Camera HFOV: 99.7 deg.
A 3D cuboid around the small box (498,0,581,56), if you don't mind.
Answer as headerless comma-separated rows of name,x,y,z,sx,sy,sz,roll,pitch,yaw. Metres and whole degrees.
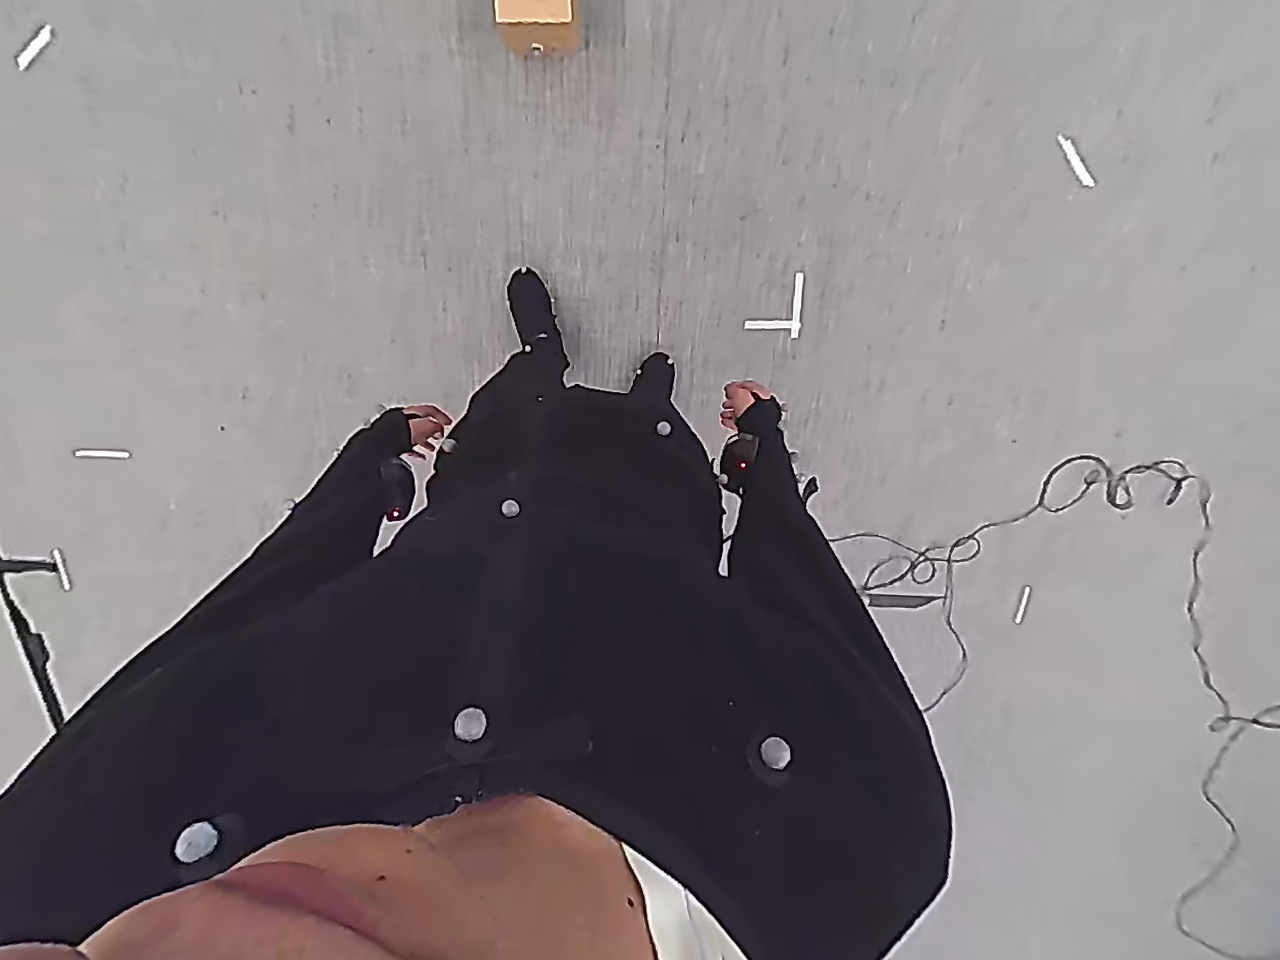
small box,-0.224,-1.095,1.214,0.168,0.176,0.179,0,108,0
